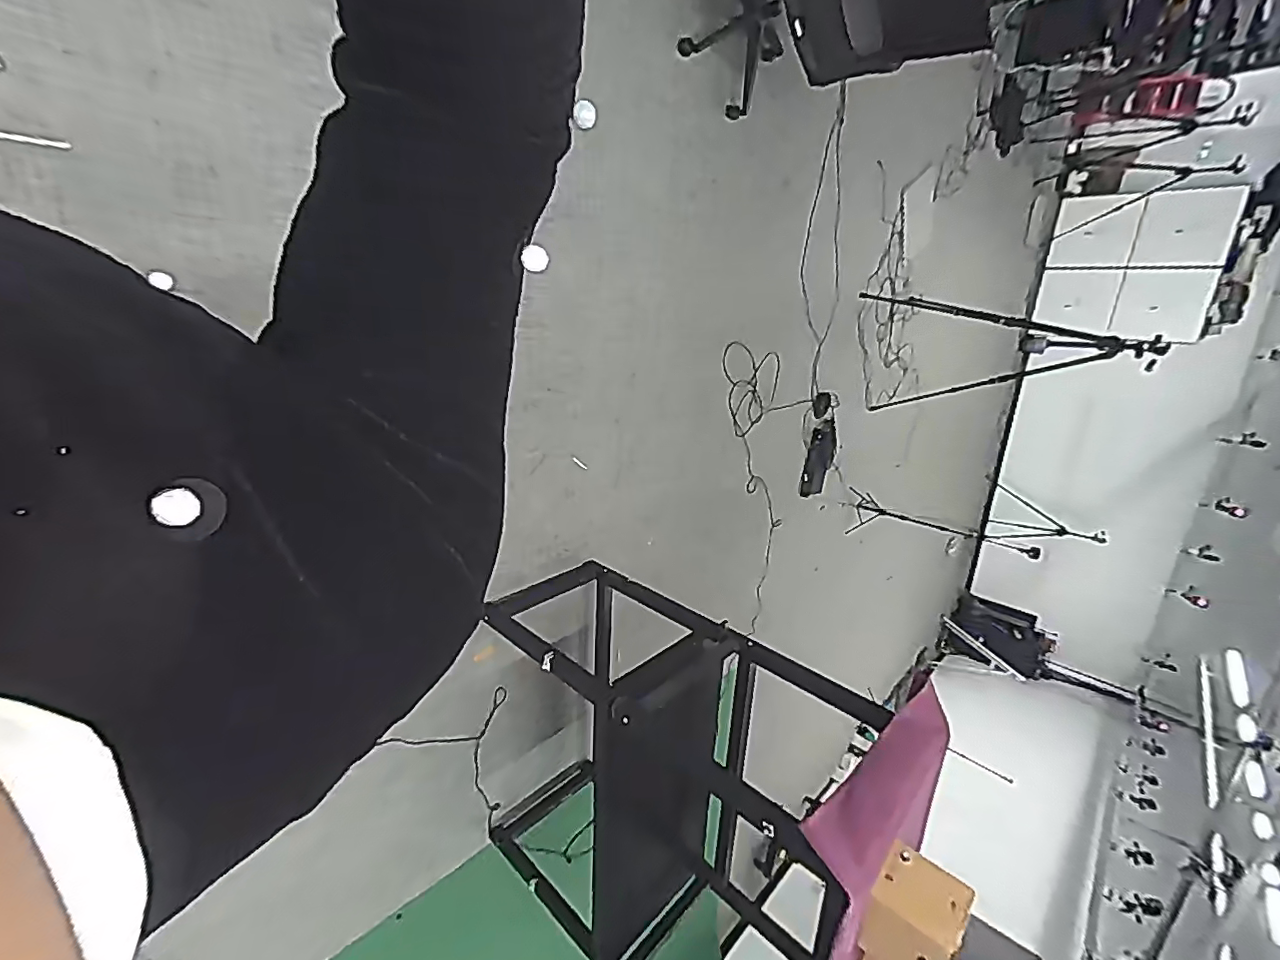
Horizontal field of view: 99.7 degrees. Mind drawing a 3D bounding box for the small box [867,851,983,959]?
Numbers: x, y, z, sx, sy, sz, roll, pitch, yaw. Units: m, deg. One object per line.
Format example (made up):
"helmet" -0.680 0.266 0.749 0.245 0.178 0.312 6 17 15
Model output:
"small box" 0.607 0.947 1.159 0.168 0.176 0.179 -20 118 -43
